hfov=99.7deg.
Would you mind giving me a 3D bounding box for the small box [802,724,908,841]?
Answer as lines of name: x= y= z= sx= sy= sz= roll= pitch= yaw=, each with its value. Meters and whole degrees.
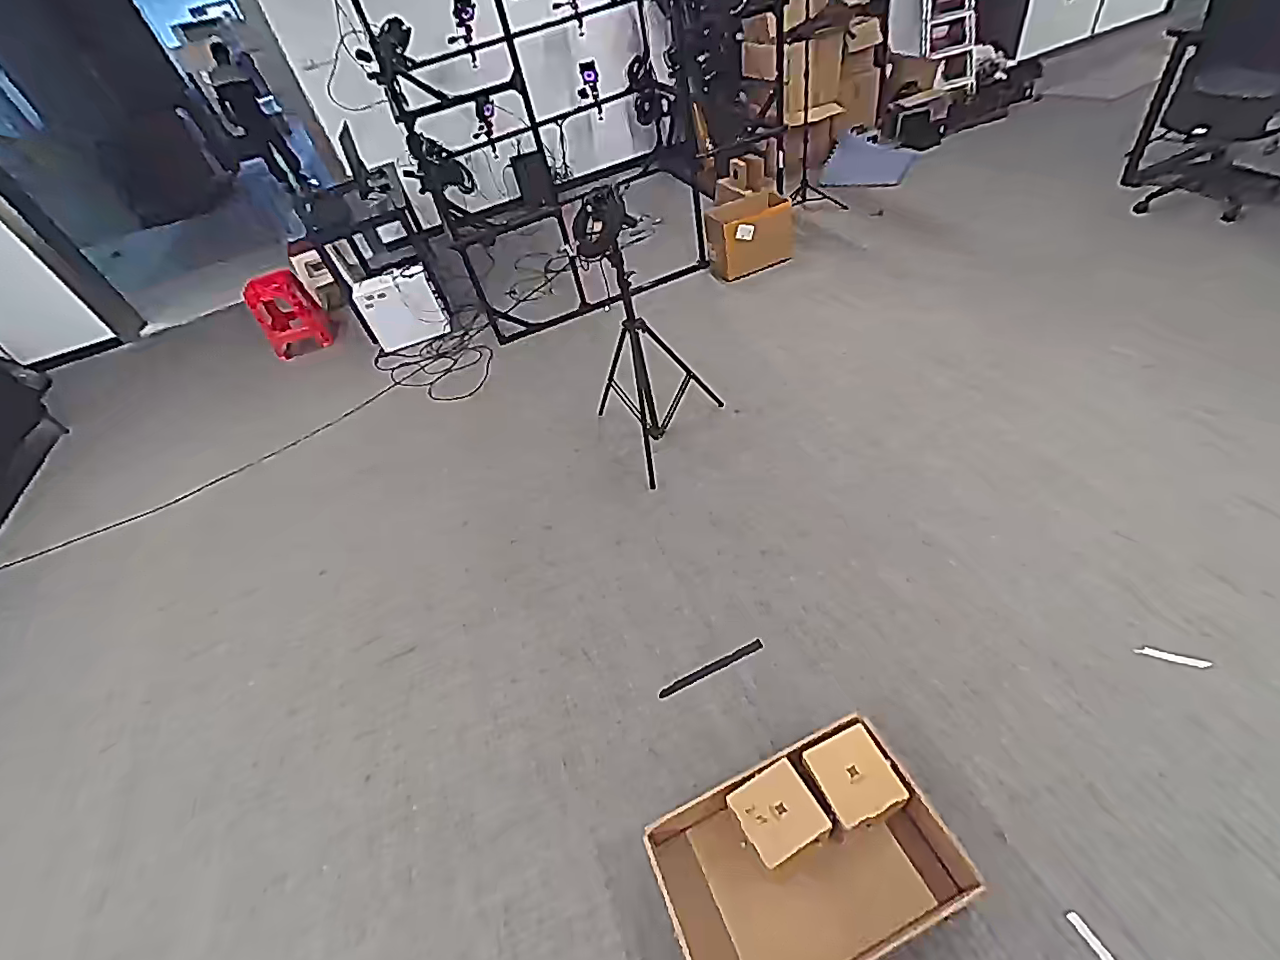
small box: x=0.505 y=0.731 z=1.303 sx=0.168 sy=0.176 sz=0.179 roll=-24 pitch=48 yaw=-7
